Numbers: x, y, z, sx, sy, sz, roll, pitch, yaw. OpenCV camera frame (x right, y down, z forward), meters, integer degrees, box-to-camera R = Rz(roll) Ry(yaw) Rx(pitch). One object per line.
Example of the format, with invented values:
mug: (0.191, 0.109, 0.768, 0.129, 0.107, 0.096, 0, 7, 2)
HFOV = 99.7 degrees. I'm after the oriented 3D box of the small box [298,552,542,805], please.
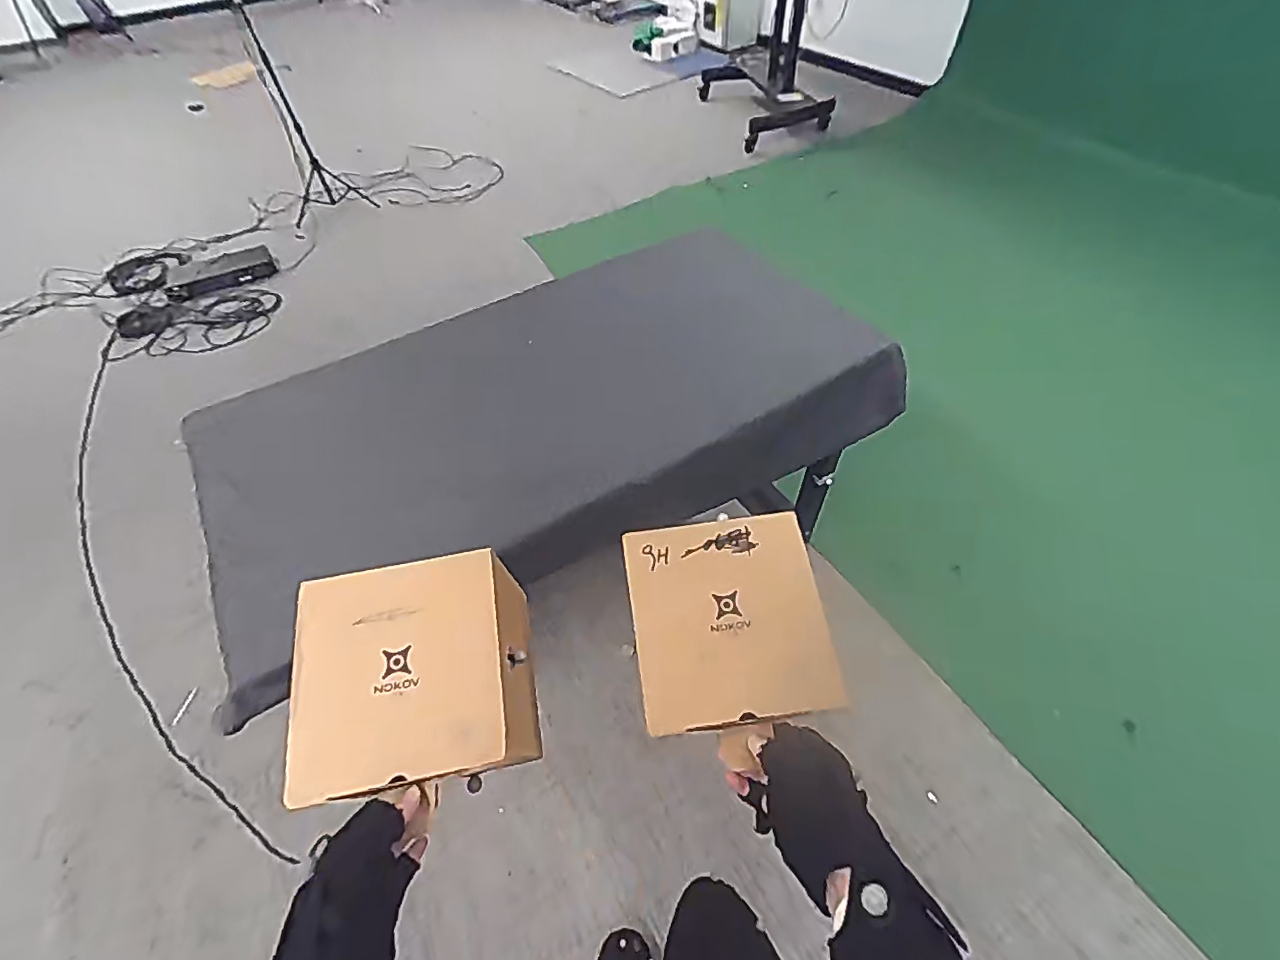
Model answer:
small box: (-0.197, 0.190, 0.524, 0.168, 0.176, 0.179, -11, 64, -5)
